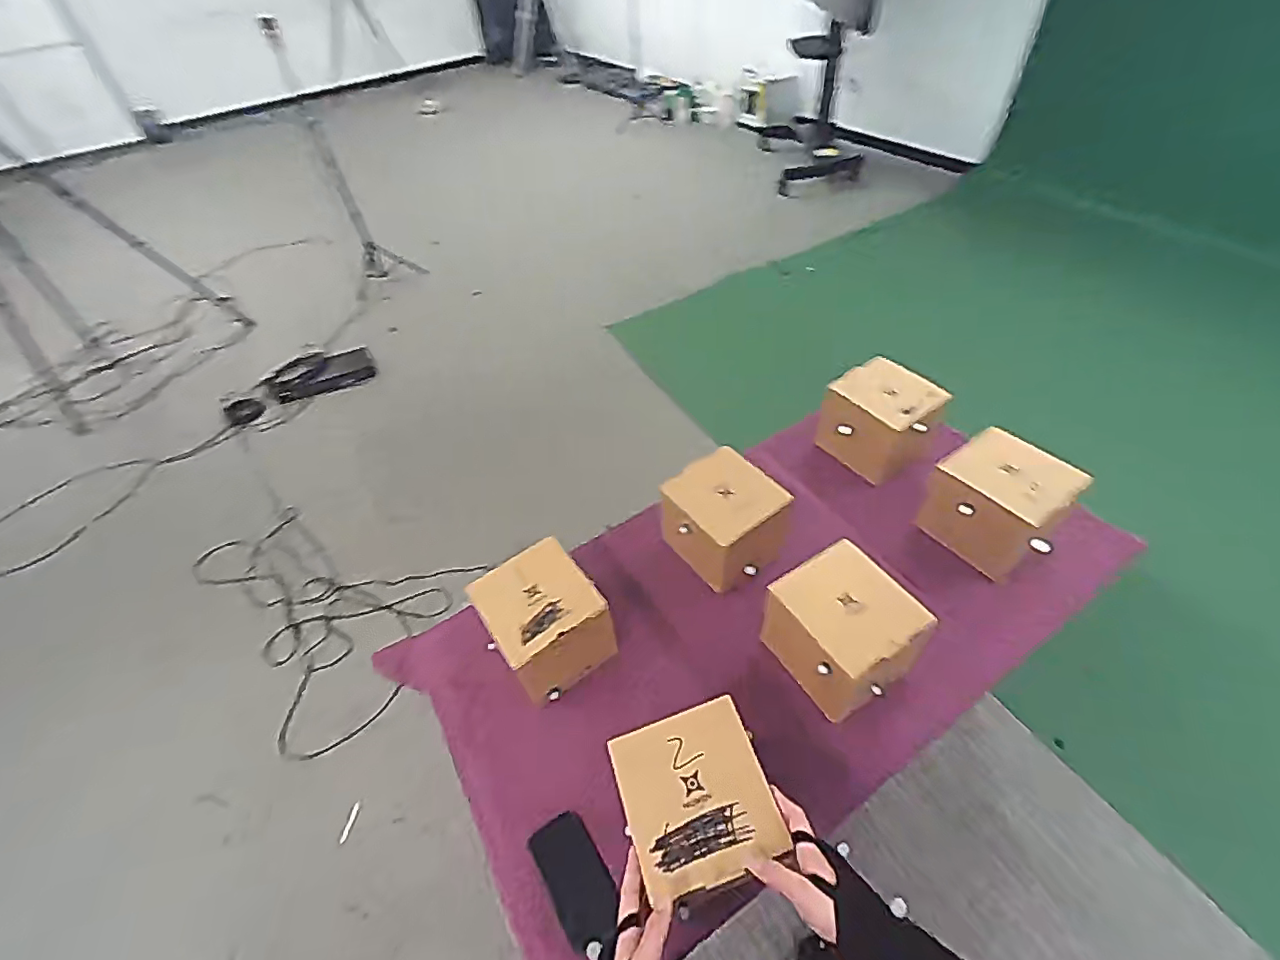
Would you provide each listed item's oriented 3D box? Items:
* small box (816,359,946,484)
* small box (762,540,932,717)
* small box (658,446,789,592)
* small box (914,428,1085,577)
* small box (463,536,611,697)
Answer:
[{"bbox_3d":[0.504,-0.124,1.160,0.168,0.176,0.179,-30,51,-19],"label":"small box"},{"bbox_3d":[0.311,0.235,0.856,0.168,0.176,0.179,-27,50,-18],"label":"small box"},{"bbox_3d":[0.151,0.075,1.018,0.168,0.176,0.179,-31,53,-20],"label":"small box"},{"bbox_3d":[0.642,0.042,0.991,0.168,0.176,0.179,-30,51,-18],"label":"small box"},{"bbox_3d":[-0.164,0.235,0.903,0.168,0.176,0.179,-31,52,-21],"label":"small box"}]
